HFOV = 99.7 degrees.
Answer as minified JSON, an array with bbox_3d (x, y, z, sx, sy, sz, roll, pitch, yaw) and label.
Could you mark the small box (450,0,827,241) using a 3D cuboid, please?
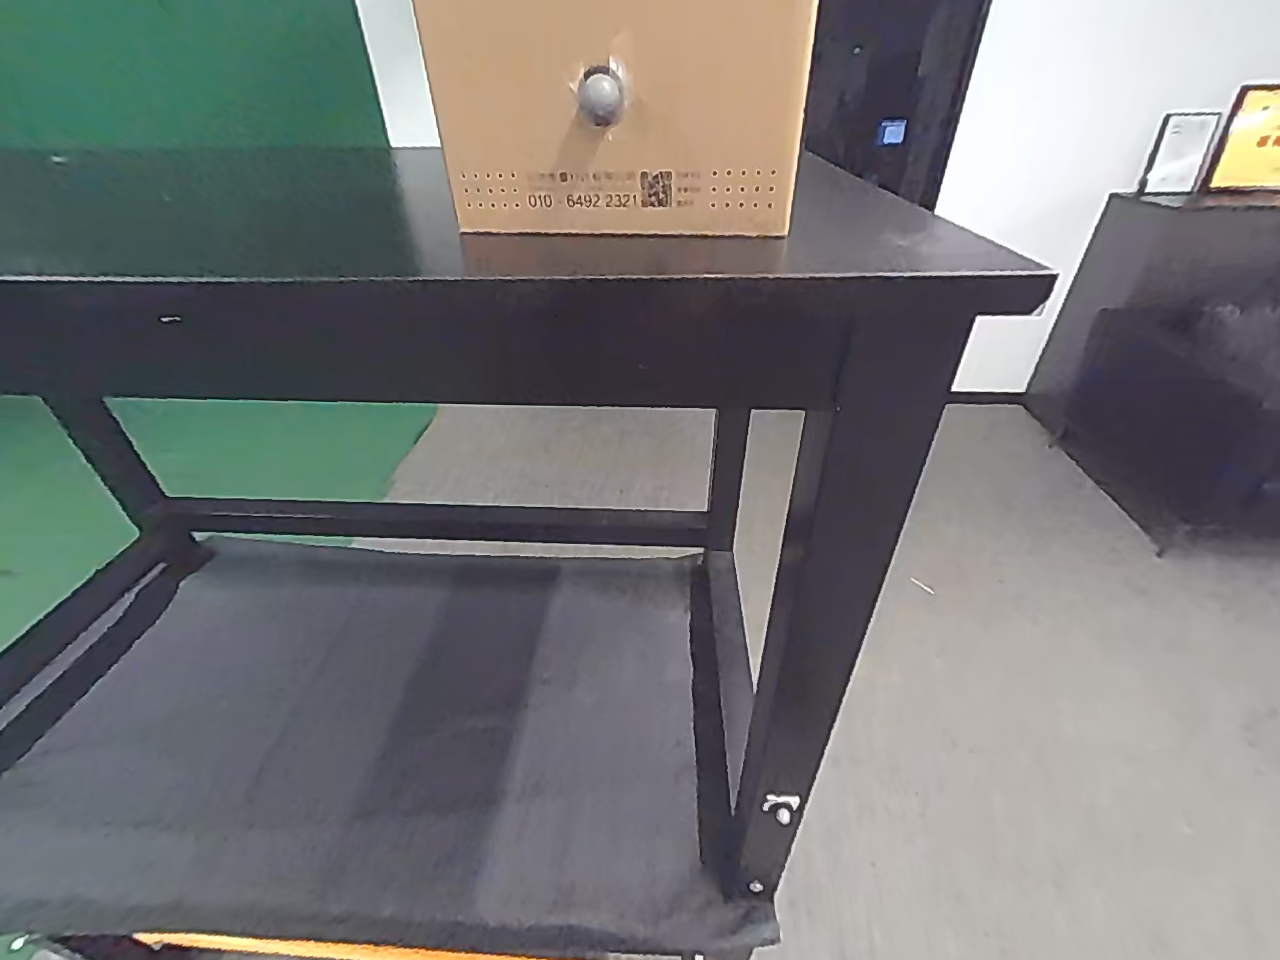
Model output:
[{"bbox_3d":[0.007,-0.236,0.288,0.168,0.176,0.179,5,36,10],"label":"small box"}]
